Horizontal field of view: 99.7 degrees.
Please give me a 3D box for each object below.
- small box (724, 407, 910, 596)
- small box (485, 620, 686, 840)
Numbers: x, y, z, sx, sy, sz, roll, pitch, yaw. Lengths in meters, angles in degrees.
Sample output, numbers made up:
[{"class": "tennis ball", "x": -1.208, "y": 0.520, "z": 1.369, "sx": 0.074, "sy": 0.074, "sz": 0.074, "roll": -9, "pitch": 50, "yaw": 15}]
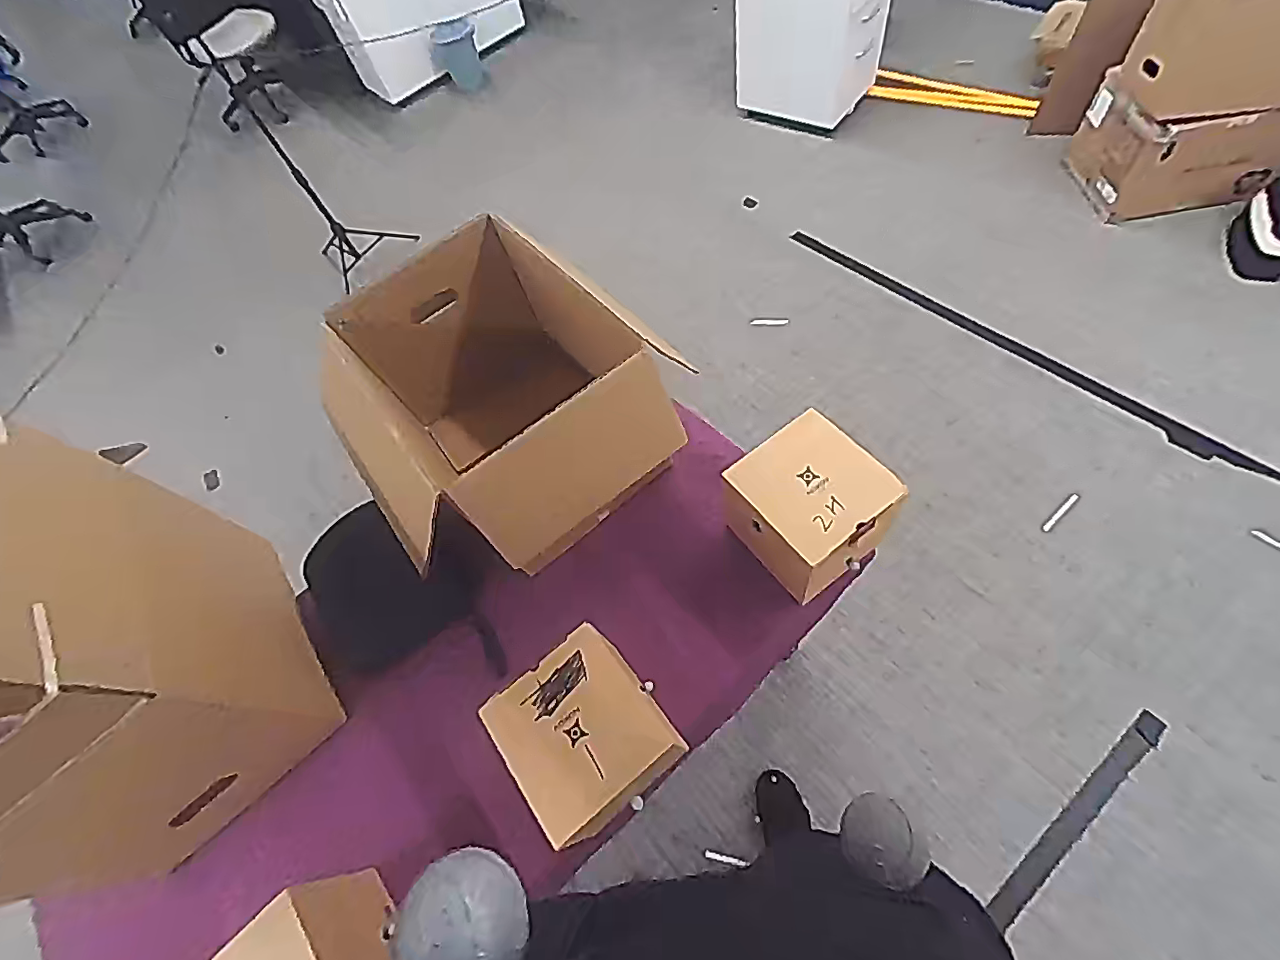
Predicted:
[{"class": "small box", "x": 0.239, "y": 0.037, "z": 0.772, "sx": 0.168, "sy": 0.176, "sz": 0.179, "roll": -36, "pitch": 61, "yaw": -8}, {"class": "small box", "x": -0.060, "y": 0.312, "z": 0.685, "sx": 0.168, "sy": 0.176, "sz": 0.179, "roll": -38, "pitch": 63, "yaw": -9}]
